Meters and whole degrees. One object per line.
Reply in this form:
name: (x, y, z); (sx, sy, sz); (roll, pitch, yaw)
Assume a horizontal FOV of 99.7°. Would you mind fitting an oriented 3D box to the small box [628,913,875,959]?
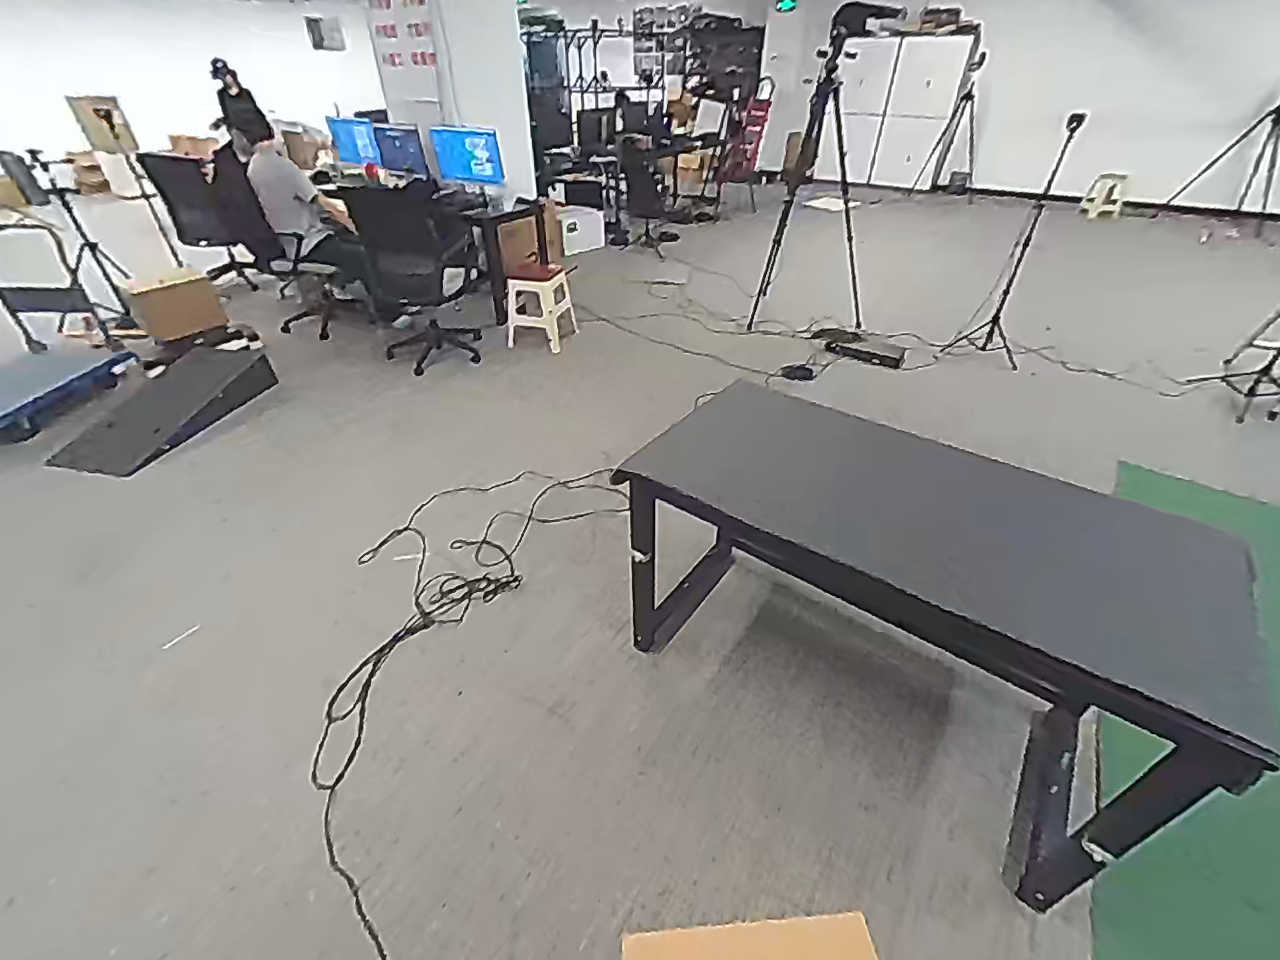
small box: (0.080, 0.420, 0.355); (0.168, 0.176, 0.179); (-5, 40, 0)
